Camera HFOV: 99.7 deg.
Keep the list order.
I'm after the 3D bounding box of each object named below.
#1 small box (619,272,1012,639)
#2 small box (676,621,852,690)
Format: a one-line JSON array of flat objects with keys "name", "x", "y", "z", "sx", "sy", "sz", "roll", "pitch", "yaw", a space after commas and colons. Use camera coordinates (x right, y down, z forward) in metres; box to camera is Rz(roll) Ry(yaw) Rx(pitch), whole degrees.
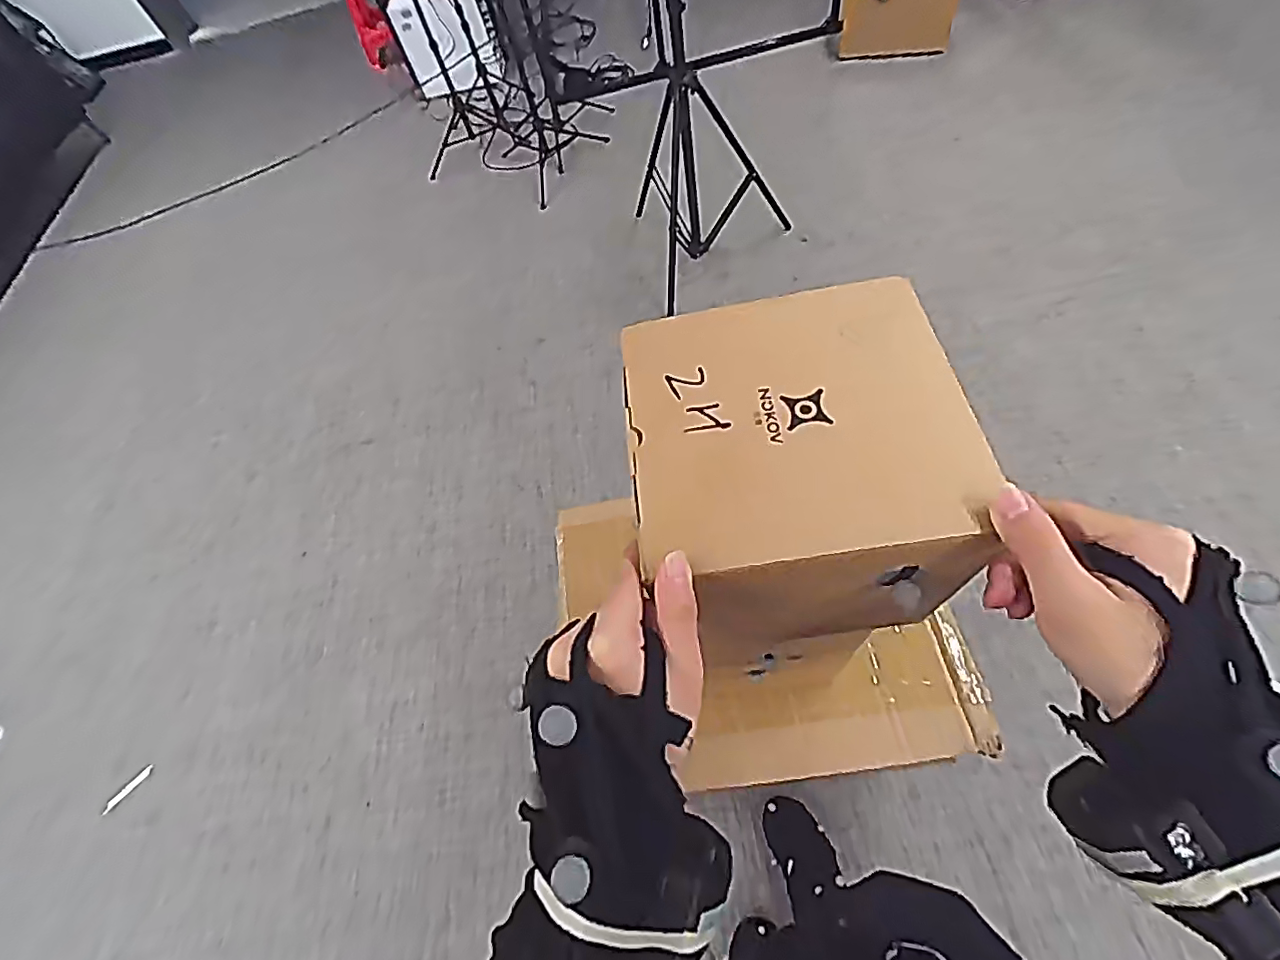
[{"name": "small box", "x": 0.090, "y": -0.002, "z": 0.359, "sx": 0.179, "sy": 0.176, "sz": 0.168, "roll": -9, "pitch": 60, "yaw": 6}, {"name": "small box", "x": 0.134, "y": 0.147, "z": 0.650, "sx": 0.179, "sy": 0.176, "sz": 0.168, "roll": -9, "pitch": 59, "yaw": 6}]
